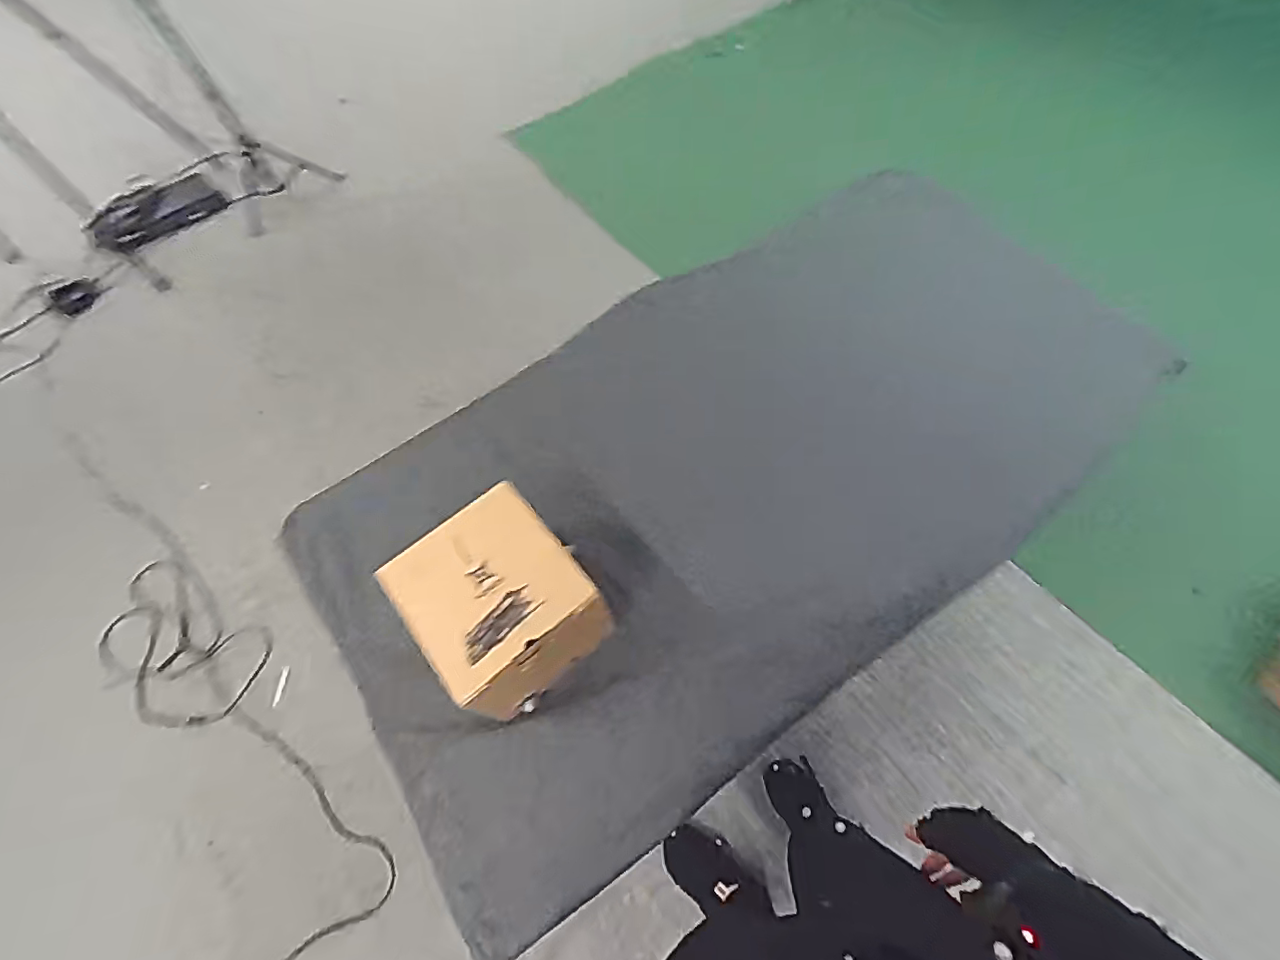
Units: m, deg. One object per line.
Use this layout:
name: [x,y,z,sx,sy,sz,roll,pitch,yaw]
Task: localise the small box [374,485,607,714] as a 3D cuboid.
small box: [-0.155,0.145,0.617,0.168,0.176,0.179,-38,65,-15]
